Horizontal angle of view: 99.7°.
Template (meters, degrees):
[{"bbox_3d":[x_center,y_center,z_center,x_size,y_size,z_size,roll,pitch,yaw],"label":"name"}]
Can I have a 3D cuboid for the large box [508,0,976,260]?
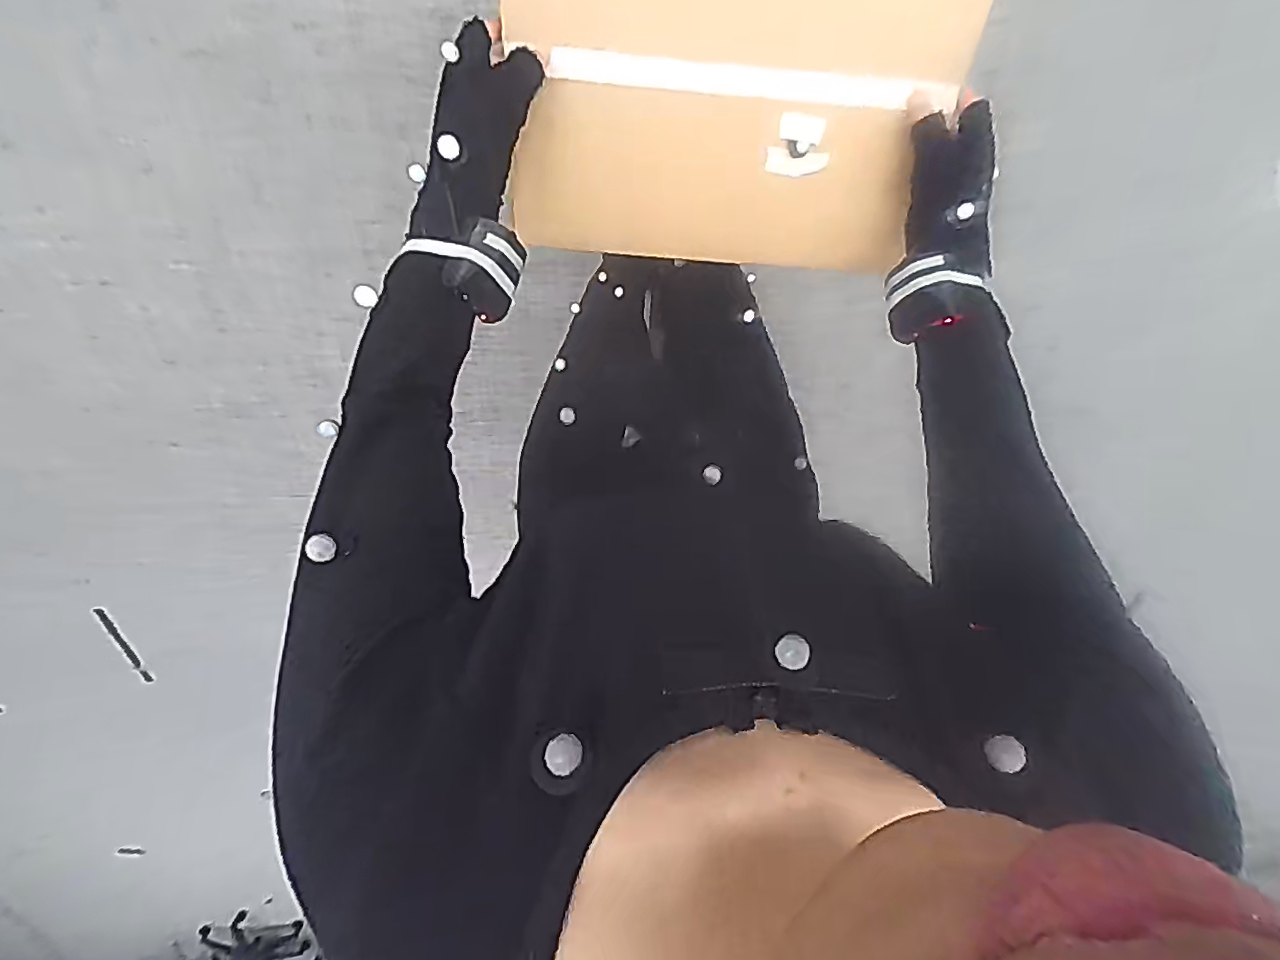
[{"bbox_3d":[0.078,-0.456,0.606,0.408,0.320,0.320,2,128,-4],"label":"large box"}]
